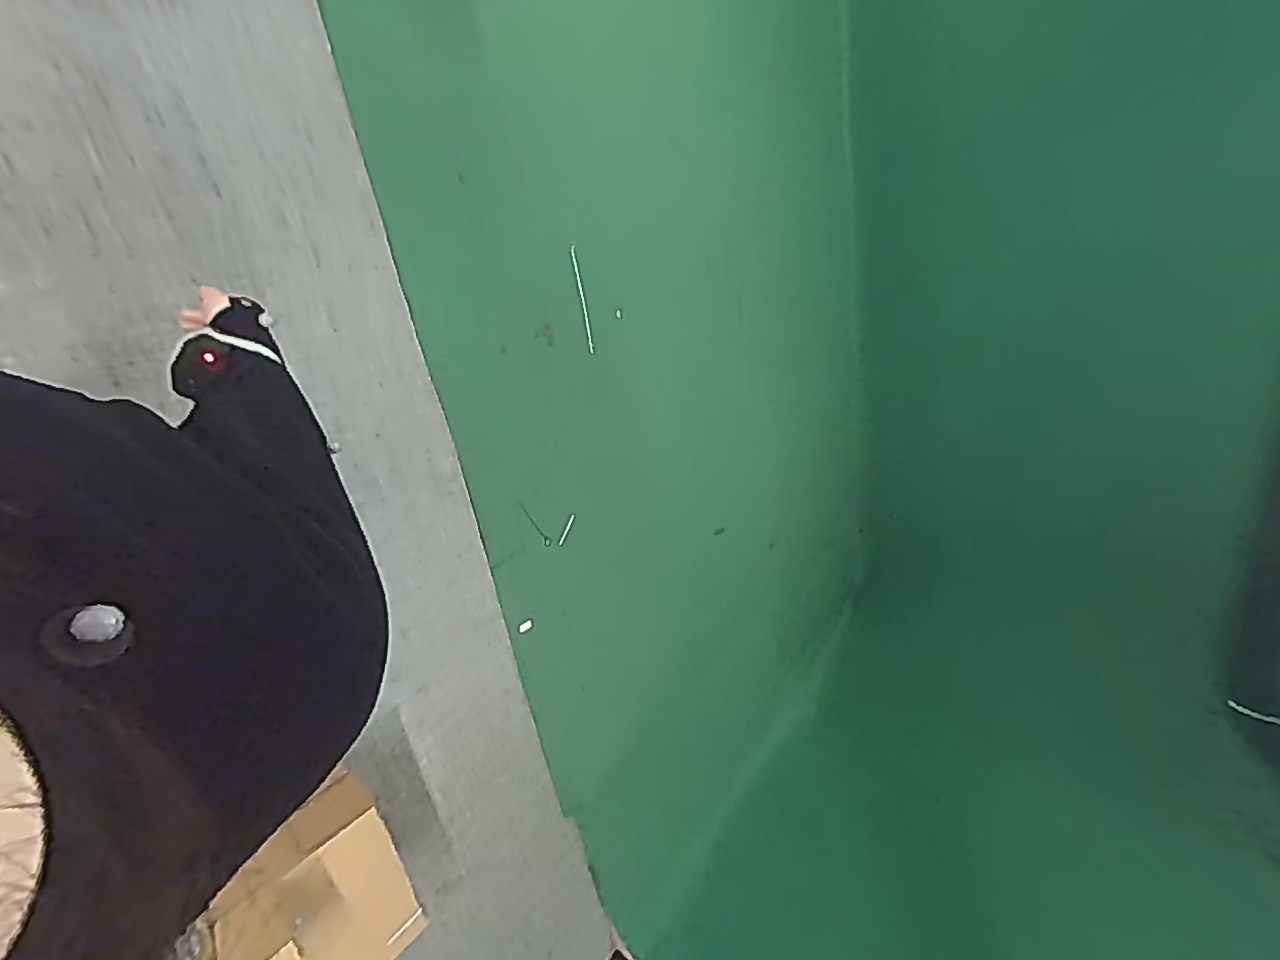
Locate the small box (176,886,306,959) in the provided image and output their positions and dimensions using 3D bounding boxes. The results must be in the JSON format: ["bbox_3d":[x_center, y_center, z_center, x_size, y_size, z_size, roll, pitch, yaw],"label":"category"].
[{"bbox_3d":[-0.764,0.954,1.042,0.179,0.176,0.168,-28,118,-42],"label":"small box"}]
